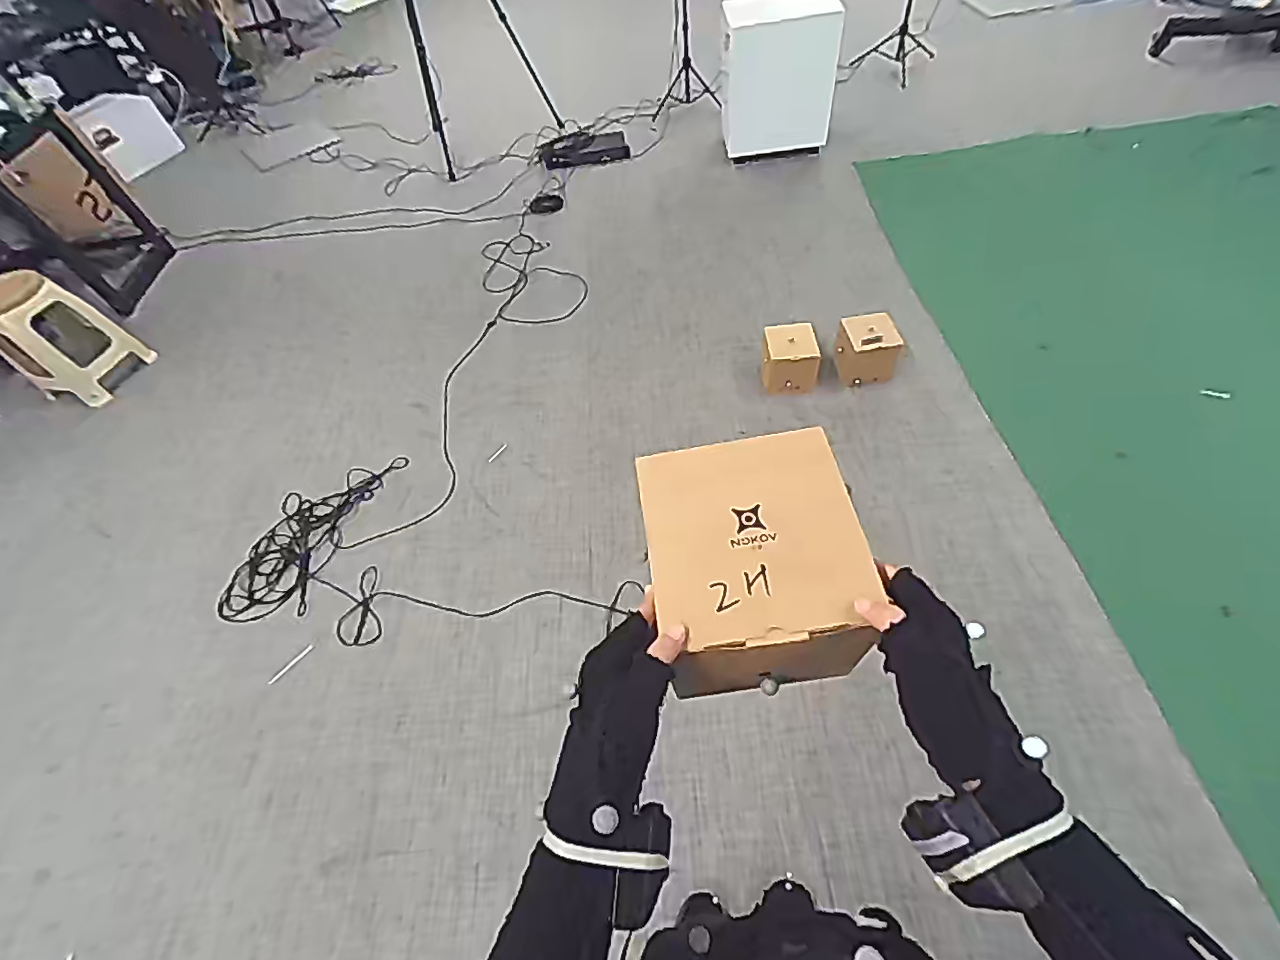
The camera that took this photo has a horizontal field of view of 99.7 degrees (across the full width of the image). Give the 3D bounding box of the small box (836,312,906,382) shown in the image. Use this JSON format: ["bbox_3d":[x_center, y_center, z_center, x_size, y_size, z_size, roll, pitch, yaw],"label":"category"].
[{"bbox_3d":[0.807,-0.459,1.902,0.168,0.176,0.179,-7,54,3],"label":"small box"}]

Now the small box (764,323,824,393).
[{"bbox_3d":[0.540,-0.431,1.921,0.168,0.176,0.179,-5,55,4],"label":"small box"}]
